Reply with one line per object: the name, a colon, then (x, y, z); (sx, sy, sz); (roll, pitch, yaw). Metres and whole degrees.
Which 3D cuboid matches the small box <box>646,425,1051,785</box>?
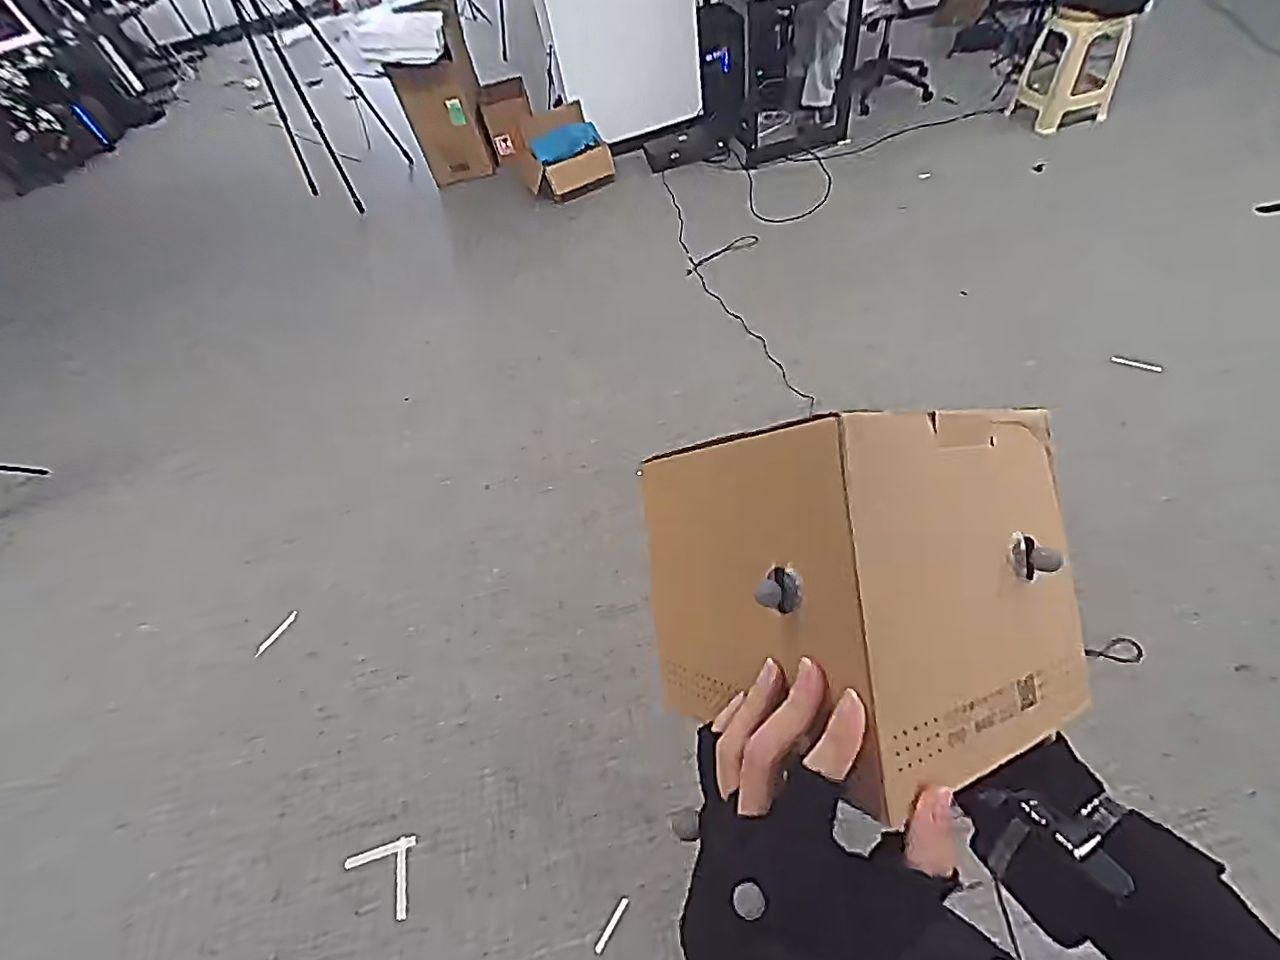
small box: (0.122, 0.065, 0.346); (0.168, 0.179, 0.176); (-5, 87, -27)
